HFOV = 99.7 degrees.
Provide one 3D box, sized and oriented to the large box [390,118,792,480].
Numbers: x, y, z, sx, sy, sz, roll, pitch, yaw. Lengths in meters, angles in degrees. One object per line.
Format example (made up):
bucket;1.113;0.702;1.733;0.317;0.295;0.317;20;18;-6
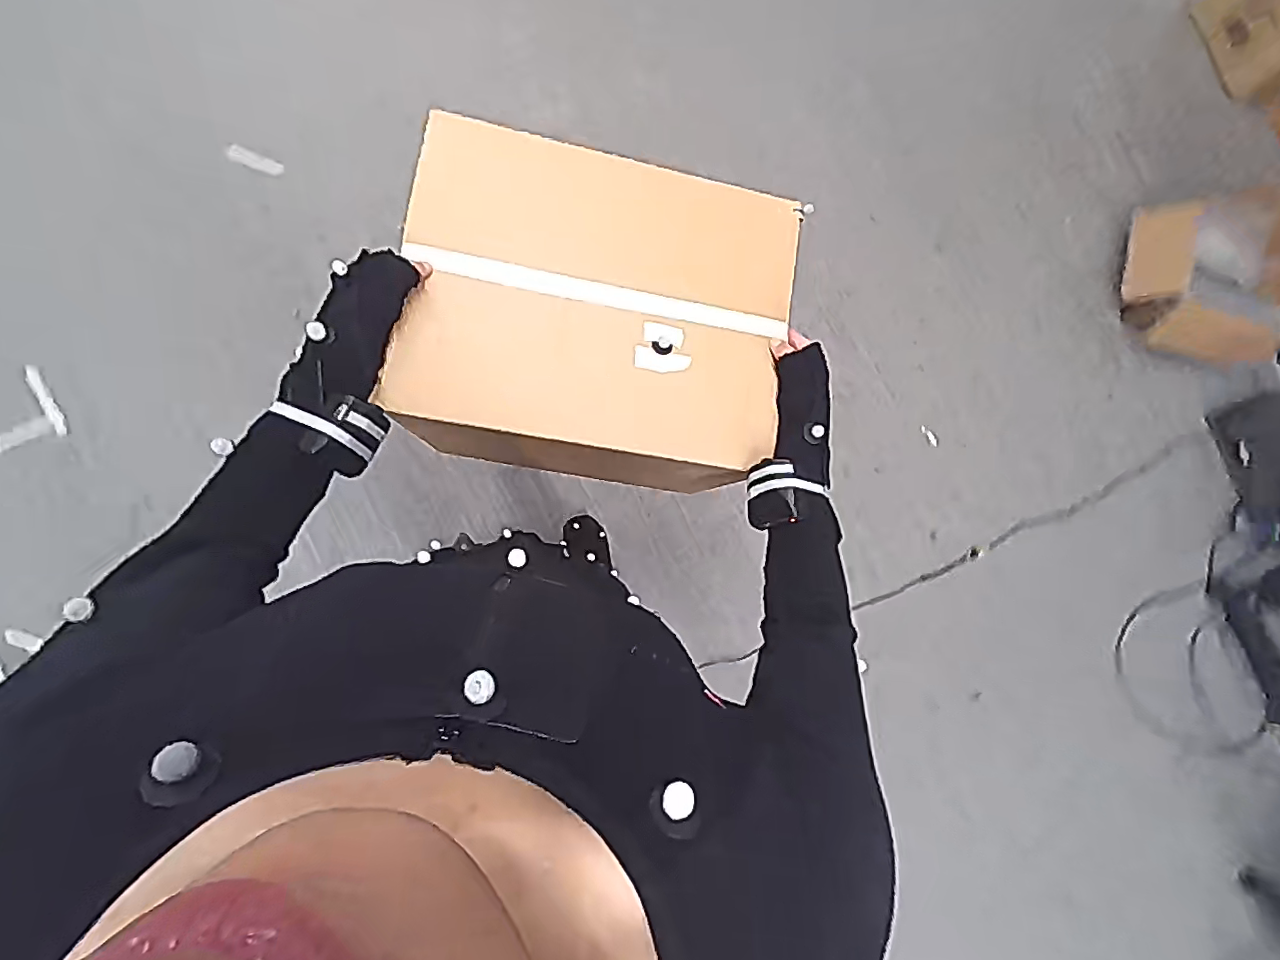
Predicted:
large box;-0.062;-0.187;0.717;0.408;0.320;0.320;8;84;-9
